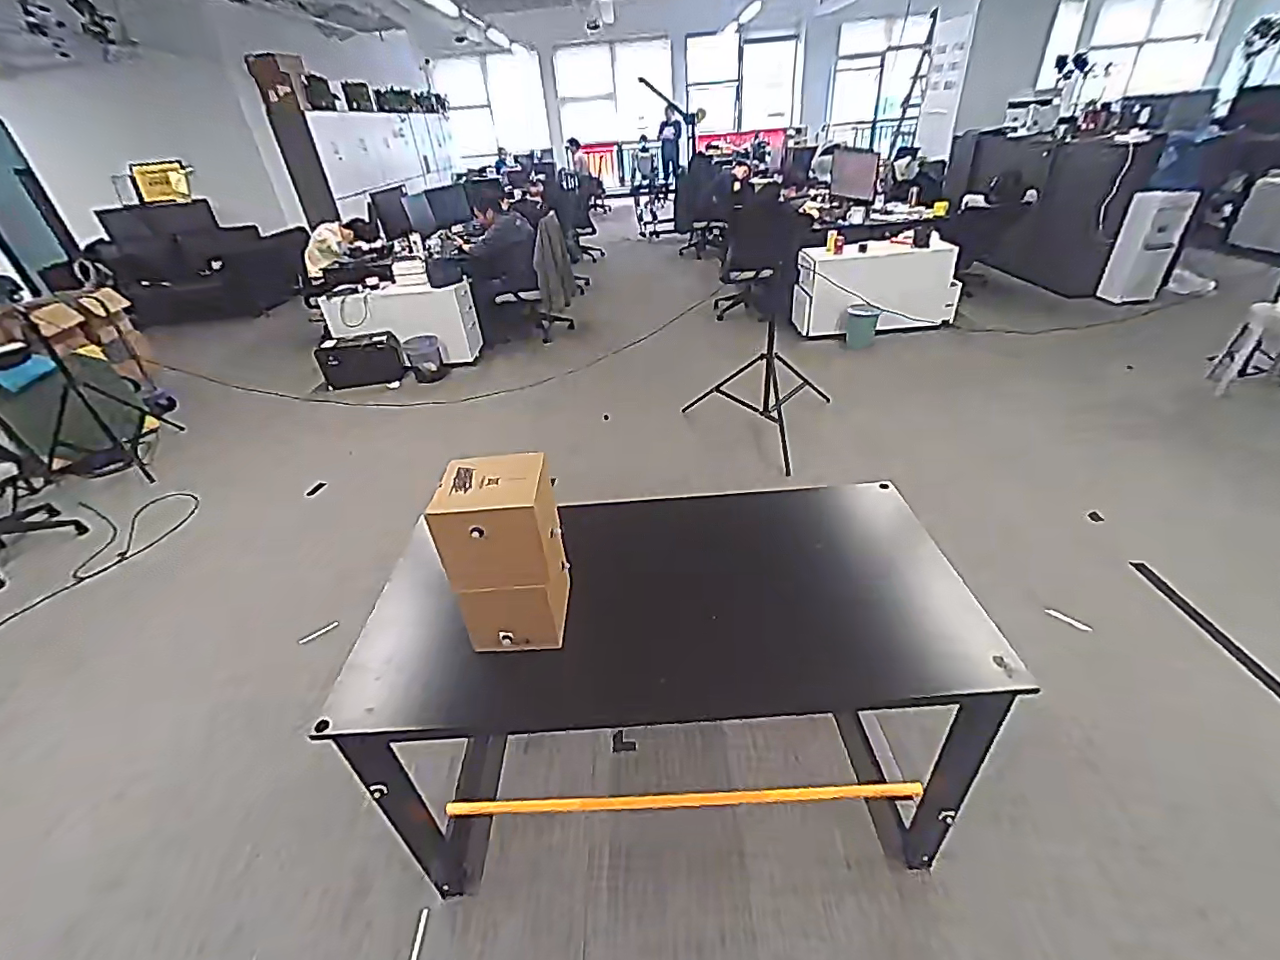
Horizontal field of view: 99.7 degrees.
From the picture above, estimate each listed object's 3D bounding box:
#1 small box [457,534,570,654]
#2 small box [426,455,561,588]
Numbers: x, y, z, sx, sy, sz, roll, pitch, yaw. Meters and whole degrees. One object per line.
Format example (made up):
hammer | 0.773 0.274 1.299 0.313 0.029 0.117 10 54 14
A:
small box | -0.233 0.211 1.047 0.168 0.176 0.179 -5 34 2
small box | -0.246 0.075 0.955 0.179 0.176 0.168 -5 33 1
